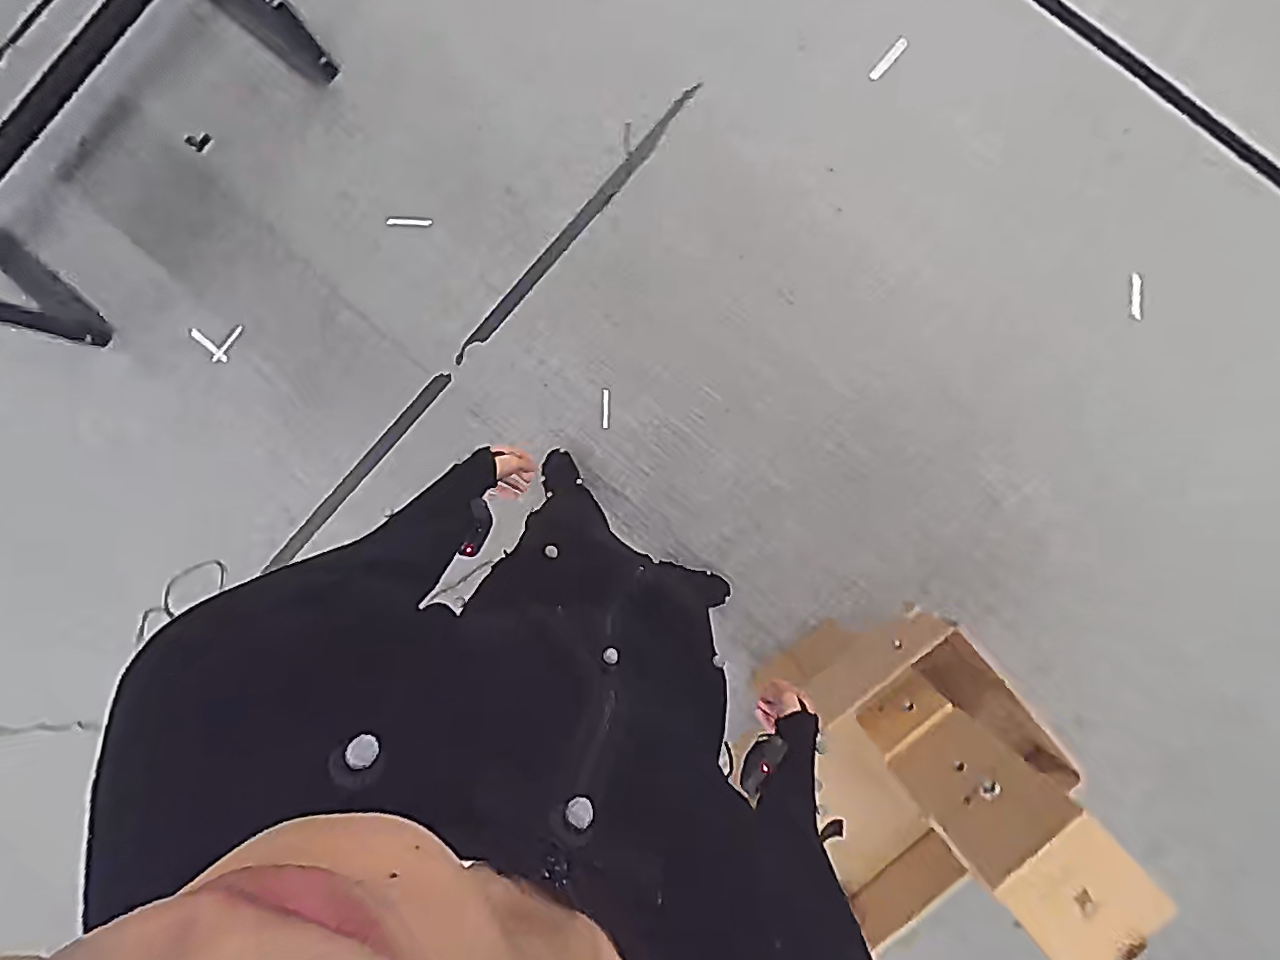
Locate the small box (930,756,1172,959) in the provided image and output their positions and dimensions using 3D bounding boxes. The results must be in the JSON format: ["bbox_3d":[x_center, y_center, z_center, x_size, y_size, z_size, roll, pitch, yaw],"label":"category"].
[{"bbox_3d":[0.568,0.544,0.773,0.168,0.176,0.179,-42,89,1],"label":"small box"}]

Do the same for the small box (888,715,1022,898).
[{"bbox_3d":[0.572,0.548,0.937,0.179,0.176,0.168,-40,88,3],"label":"small box"}]

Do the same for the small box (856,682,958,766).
[{"bbox_3d":[0.578,0.539,1.101,0.168,0.176,0.179,-41,89,3],"label":"small box"}]
